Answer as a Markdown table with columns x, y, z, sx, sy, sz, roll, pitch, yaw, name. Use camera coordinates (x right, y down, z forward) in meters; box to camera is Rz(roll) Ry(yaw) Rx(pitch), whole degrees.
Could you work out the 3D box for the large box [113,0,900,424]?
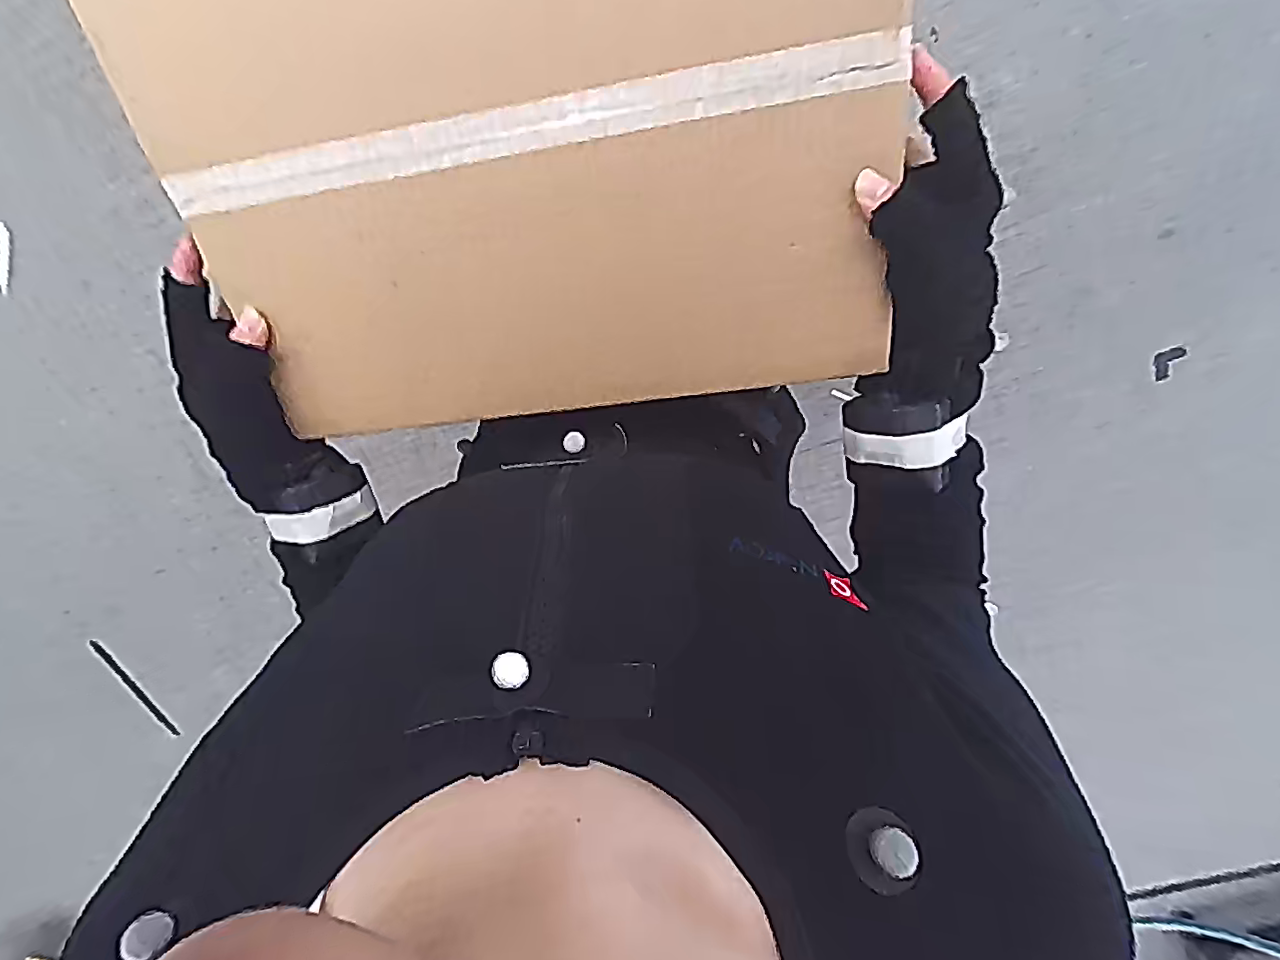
| x | y | z | sx | sy | sz | roll | pitch | yaw | name |
| --- | --- | --- | --- | --- | --- | --- | --- | --- | --- |
| -0.057 | -0.264 | 0.426 | 0.408 | 0.320 | 0.320 | -5 | 119 | 8 | large box |
